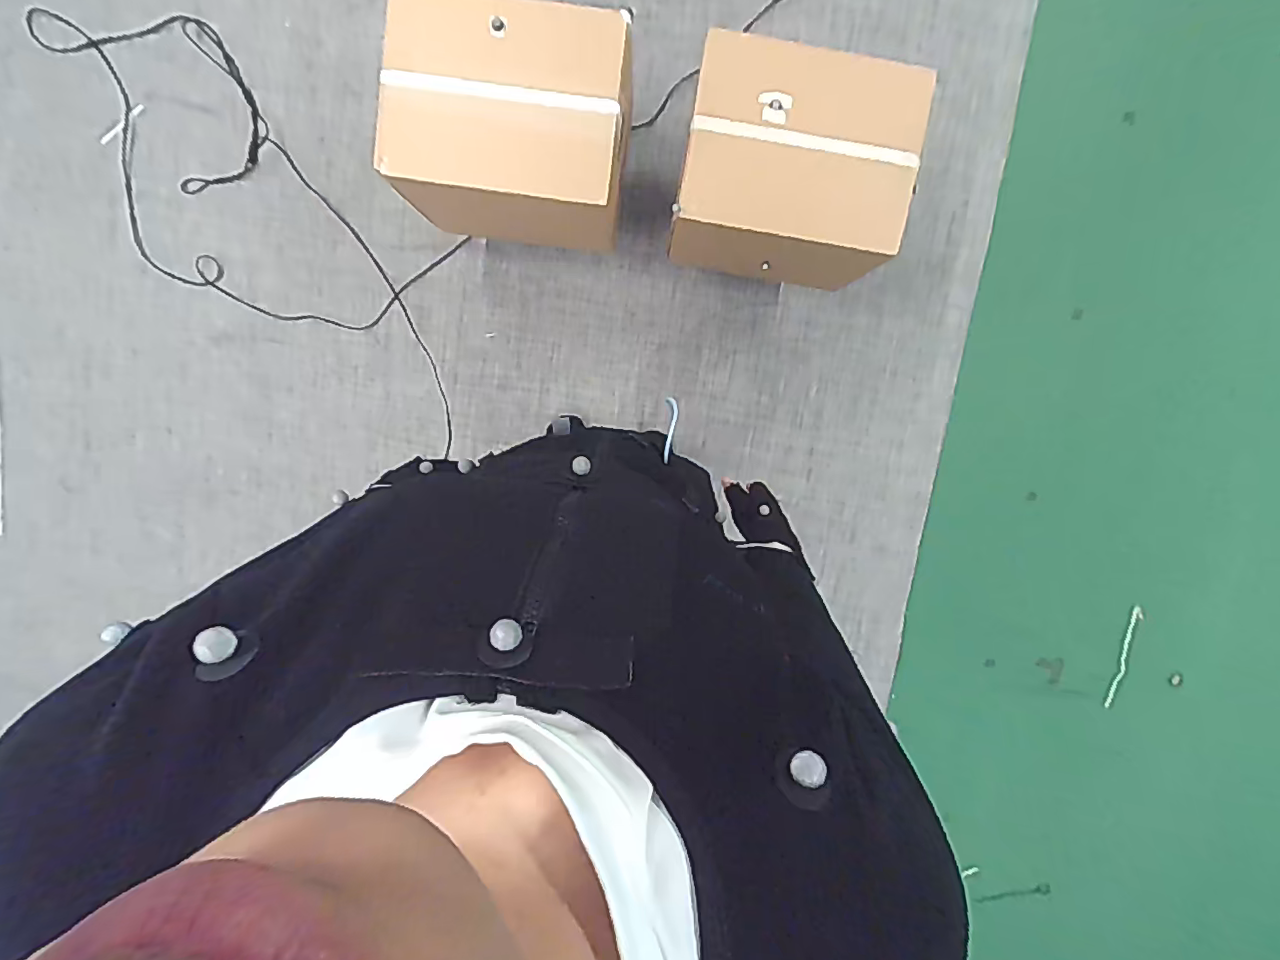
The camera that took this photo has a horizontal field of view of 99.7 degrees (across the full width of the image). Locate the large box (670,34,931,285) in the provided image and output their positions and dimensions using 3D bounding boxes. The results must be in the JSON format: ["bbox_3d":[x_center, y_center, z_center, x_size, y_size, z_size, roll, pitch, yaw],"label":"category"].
[{"bbox_3d":[0.290,-0.612,1.103,0.408,0.320,0.320,10,98,-2],"label":"large box"}]
